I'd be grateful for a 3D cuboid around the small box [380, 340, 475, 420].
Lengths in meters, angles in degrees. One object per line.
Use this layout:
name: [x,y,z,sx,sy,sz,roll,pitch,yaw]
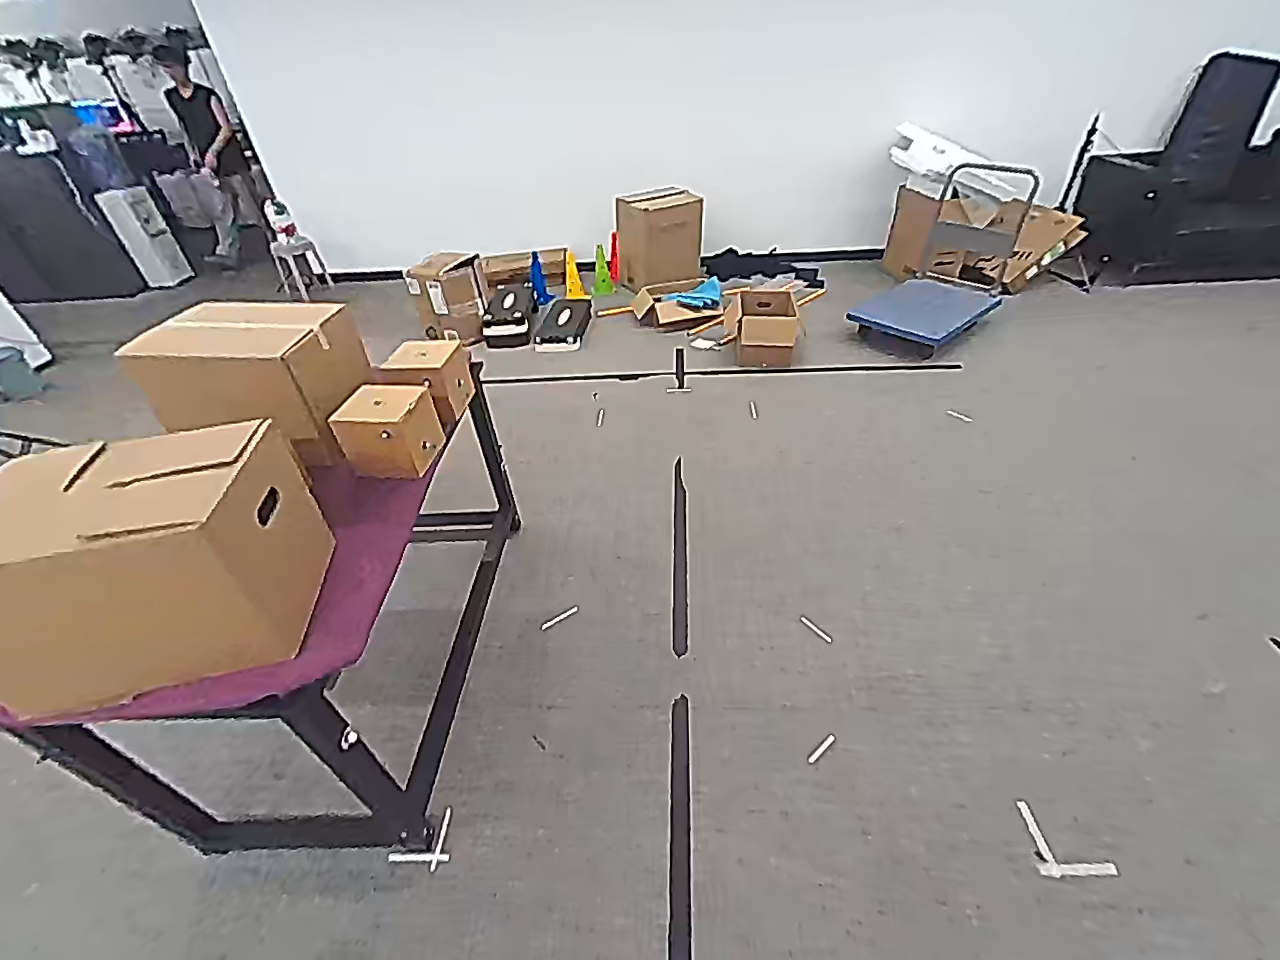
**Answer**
small box: [-0.588,-0.280,1.526,0.179,0.176,0.168,-1,38,7]
